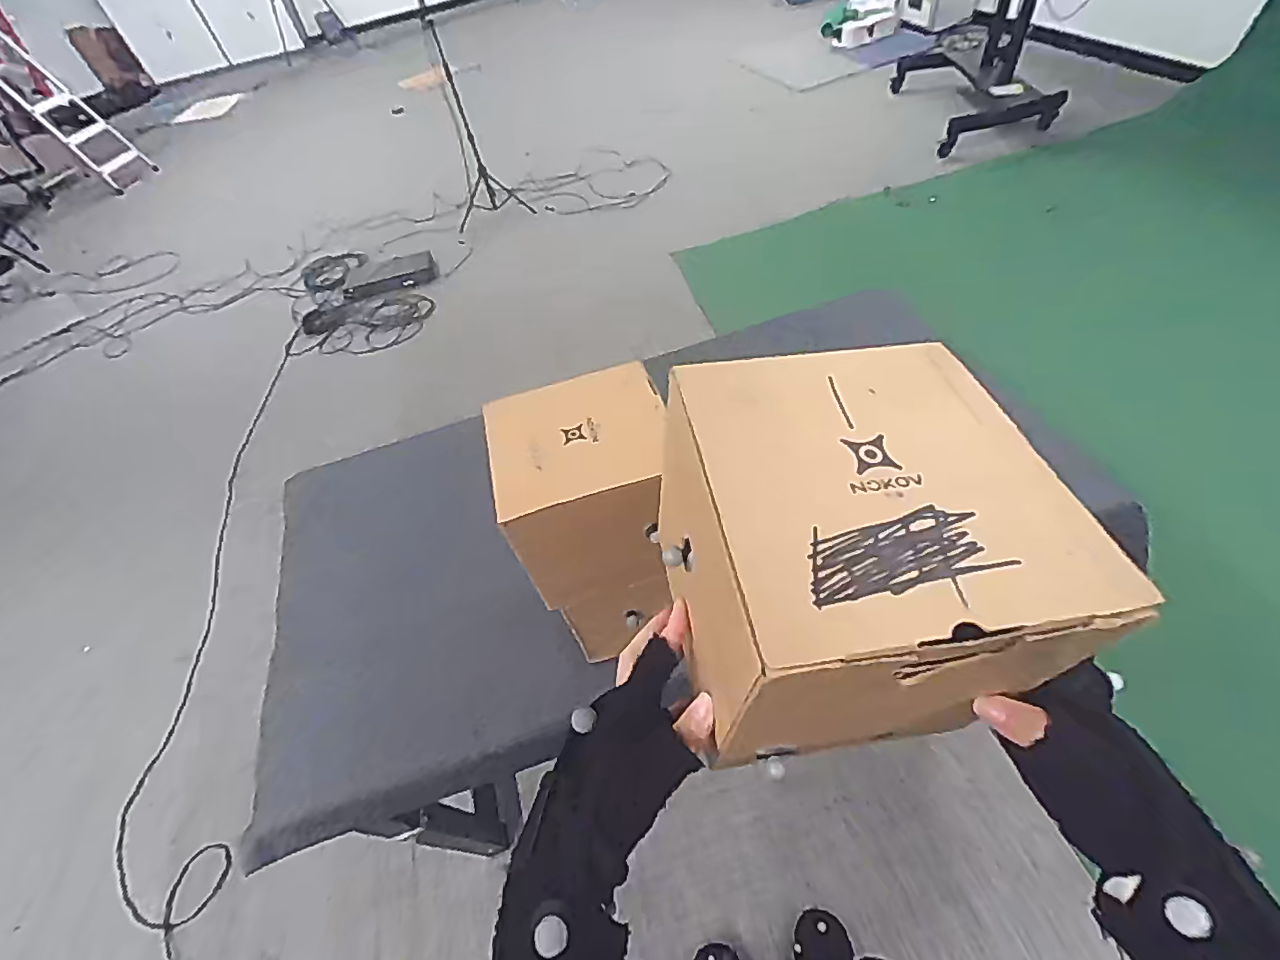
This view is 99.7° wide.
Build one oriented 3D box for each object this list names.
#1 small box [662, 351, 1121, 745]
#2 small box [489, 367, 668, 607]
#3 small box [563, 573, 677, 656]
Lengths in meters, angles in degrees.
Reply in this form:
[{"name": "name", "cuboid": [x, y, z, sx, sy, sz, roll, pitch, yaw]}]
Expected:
[{"name": "small box", "cuboid": [0.109, 0.047, 0.331, 0.168, 0.176, 0.179, -5, 50, -6]}, {"name": "small box", "cuboid": [-0.048, 0.011, 0.591, 0.179, 0.176, 0.168, -18, 48, -3]}, {"name": "small box", "cuboid": [-0.013, 0.110, 0.715, 0.179, 0.176, 0.168, -16, 50, -2]}]
